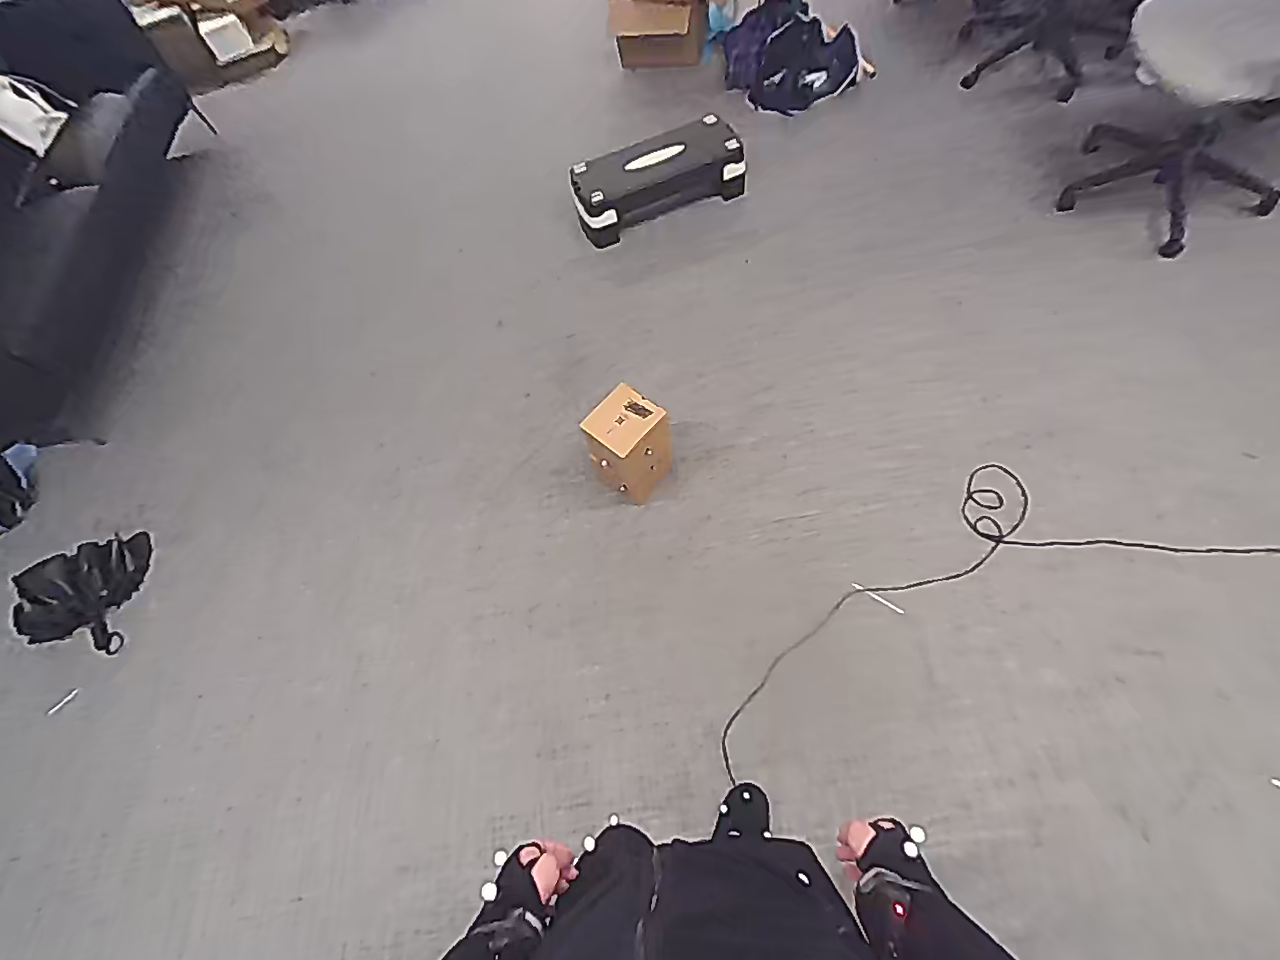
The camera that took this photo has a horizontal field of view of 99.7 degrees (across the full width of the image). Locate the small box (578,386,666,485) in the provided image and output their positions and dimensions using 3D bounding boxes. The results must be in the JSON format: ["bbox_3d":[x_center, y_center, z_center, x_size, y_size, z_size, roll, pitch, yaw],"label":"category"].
[{"bbox_3d":[-0.041,-0.119,1.495,0.168,0.176,0.179,37,75,23],"label":"small box"}]

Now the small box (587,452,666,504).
[{"bbox_3d":[-0.033,-0.055,1.648,0.168,0.176,0.179,30,70,20],"label":"small box"}]
